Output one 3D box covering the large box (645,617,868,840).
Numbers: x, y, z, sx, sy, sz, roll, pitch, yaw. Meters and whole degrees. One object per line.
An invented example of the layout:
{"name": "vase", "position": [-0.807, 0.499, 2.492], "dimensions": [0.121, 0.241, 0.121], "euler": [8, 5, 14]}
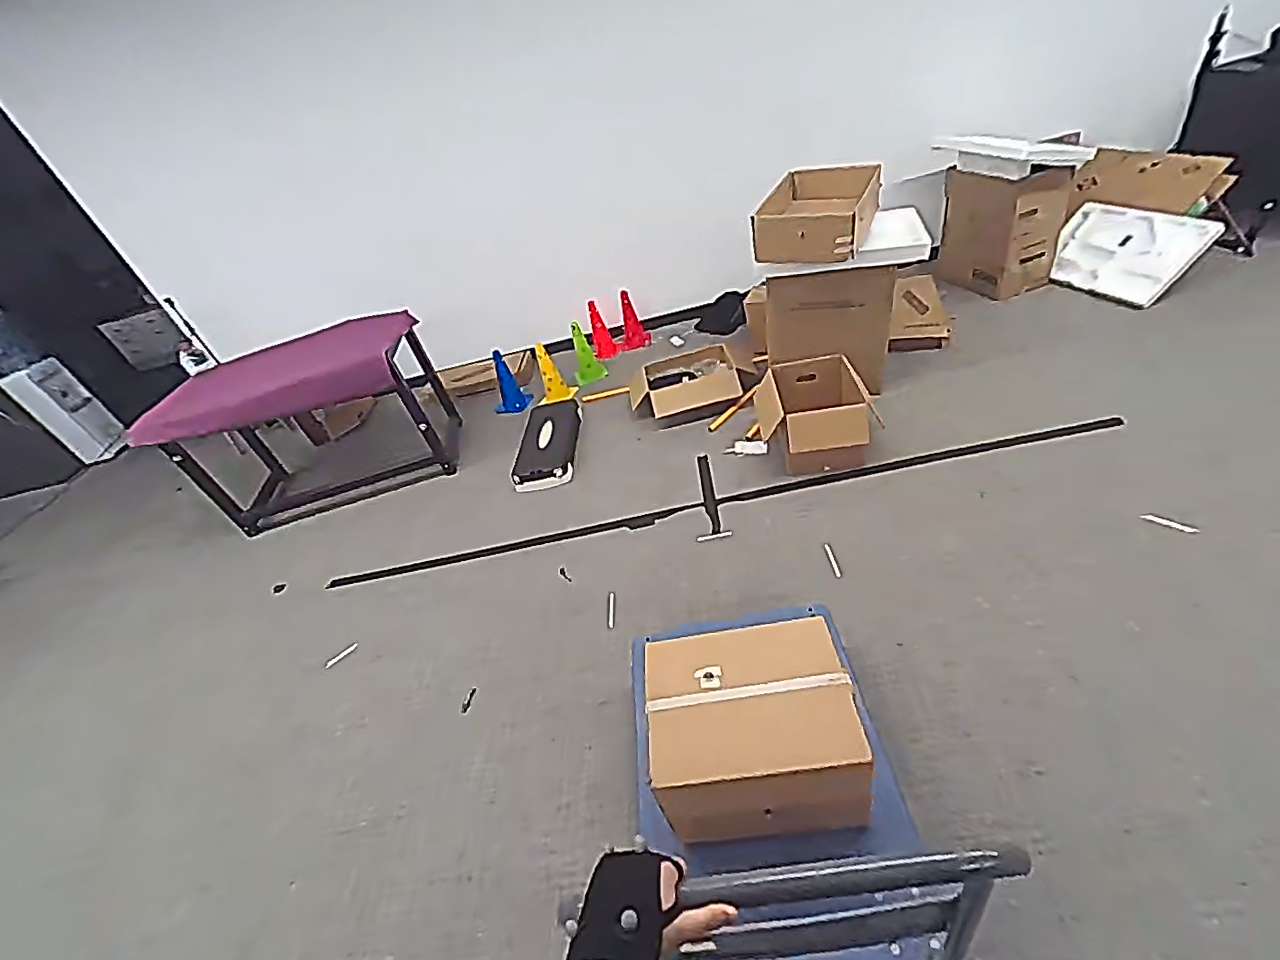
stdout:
{"name": "large box", "position": [0.248, 0.551, 1.195], "dimensions": [0.408, 0.320, 0.320], "euler": [-13, 37, 8]}
